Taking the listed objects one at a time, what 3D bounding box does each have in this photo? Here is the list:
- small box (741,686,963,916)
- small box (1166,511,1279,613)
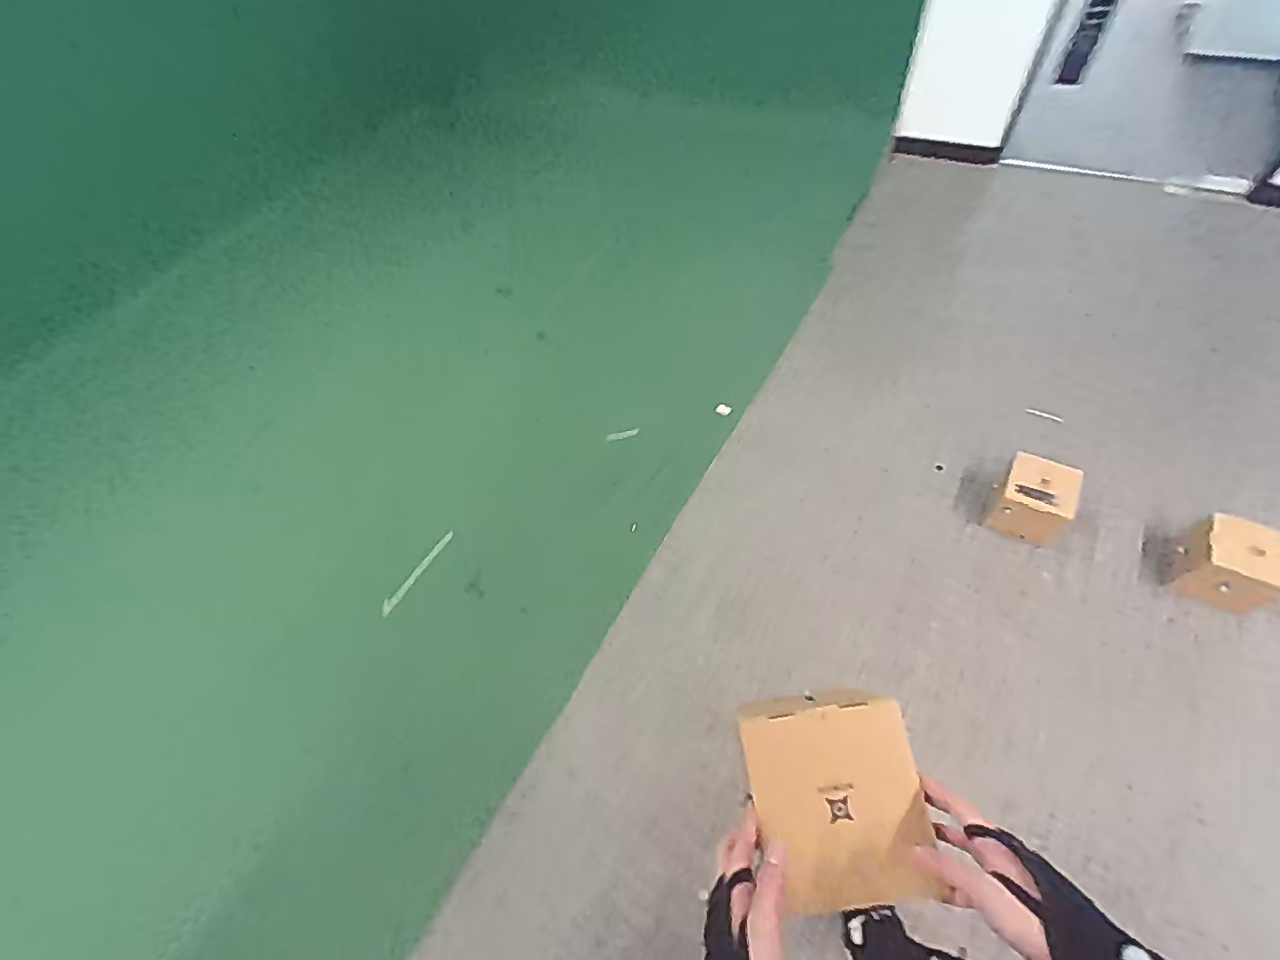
[{"bbox_3d":[0.210,0.331,0.591,0.168,0.176,0.179,-9,71,3],"label":"small box"},{"bbox_3d":[1.493,0.213,1.368,0.179,0.176,0.168,23,63,22],"label":"small box"}]
